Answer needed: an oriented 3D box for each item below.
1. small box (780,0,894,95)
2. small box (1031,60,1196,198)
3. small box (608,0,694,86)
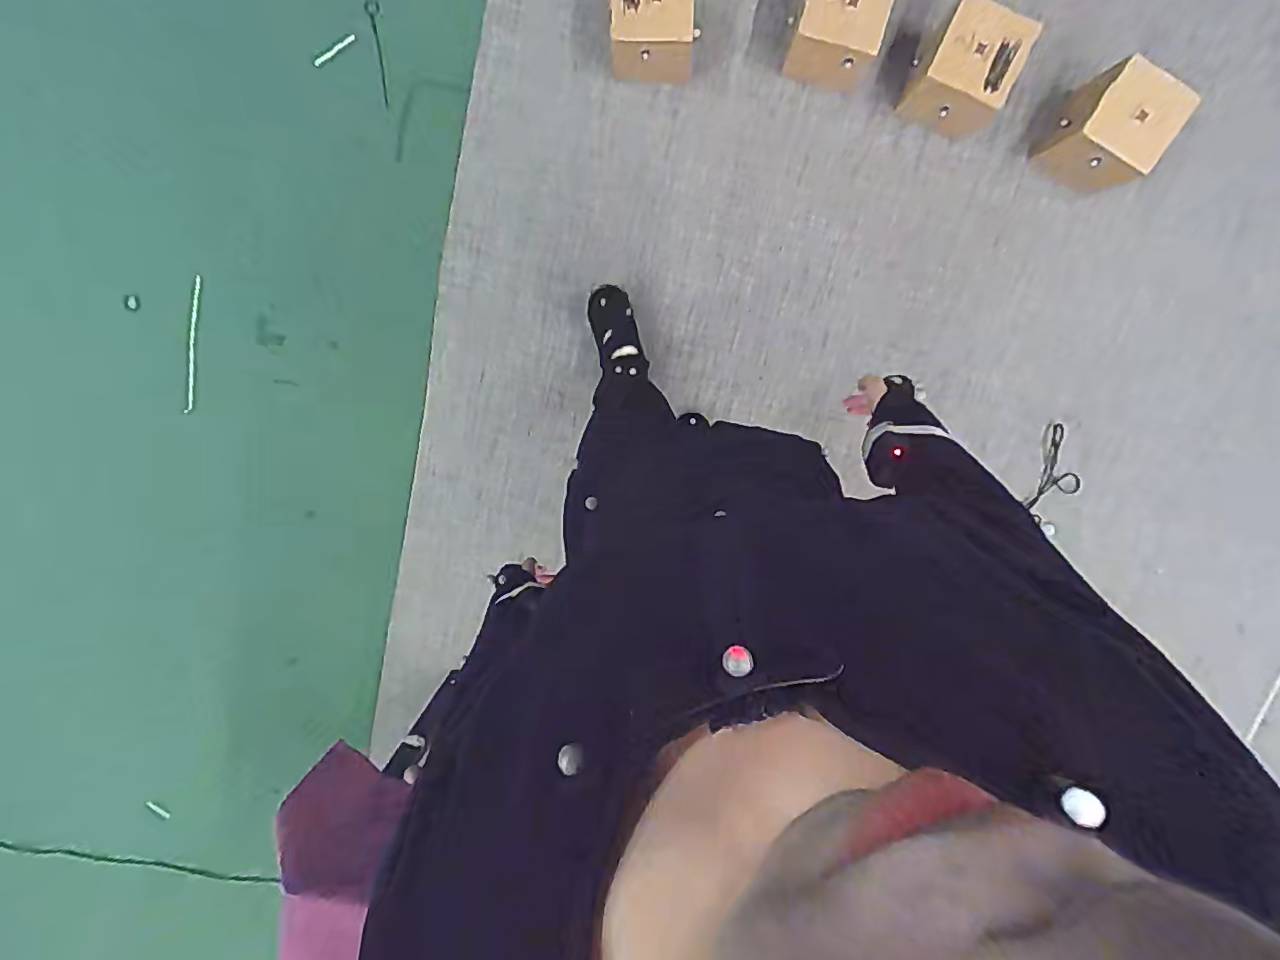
[{"bbox_3d":[0.425,-0.978,1.176,0.179,0.176,0.168,15,102,0],"label":"small box"},{"bbox_3d":[1.026,-0.758,1.192,0.179,0.176,0.168,30,102,-4],"label":"small box"},{"bbox_3d":[0.028,-1.002,1.193,0.179,0.176,0.168,3,102,2],"label":"small box"}]
